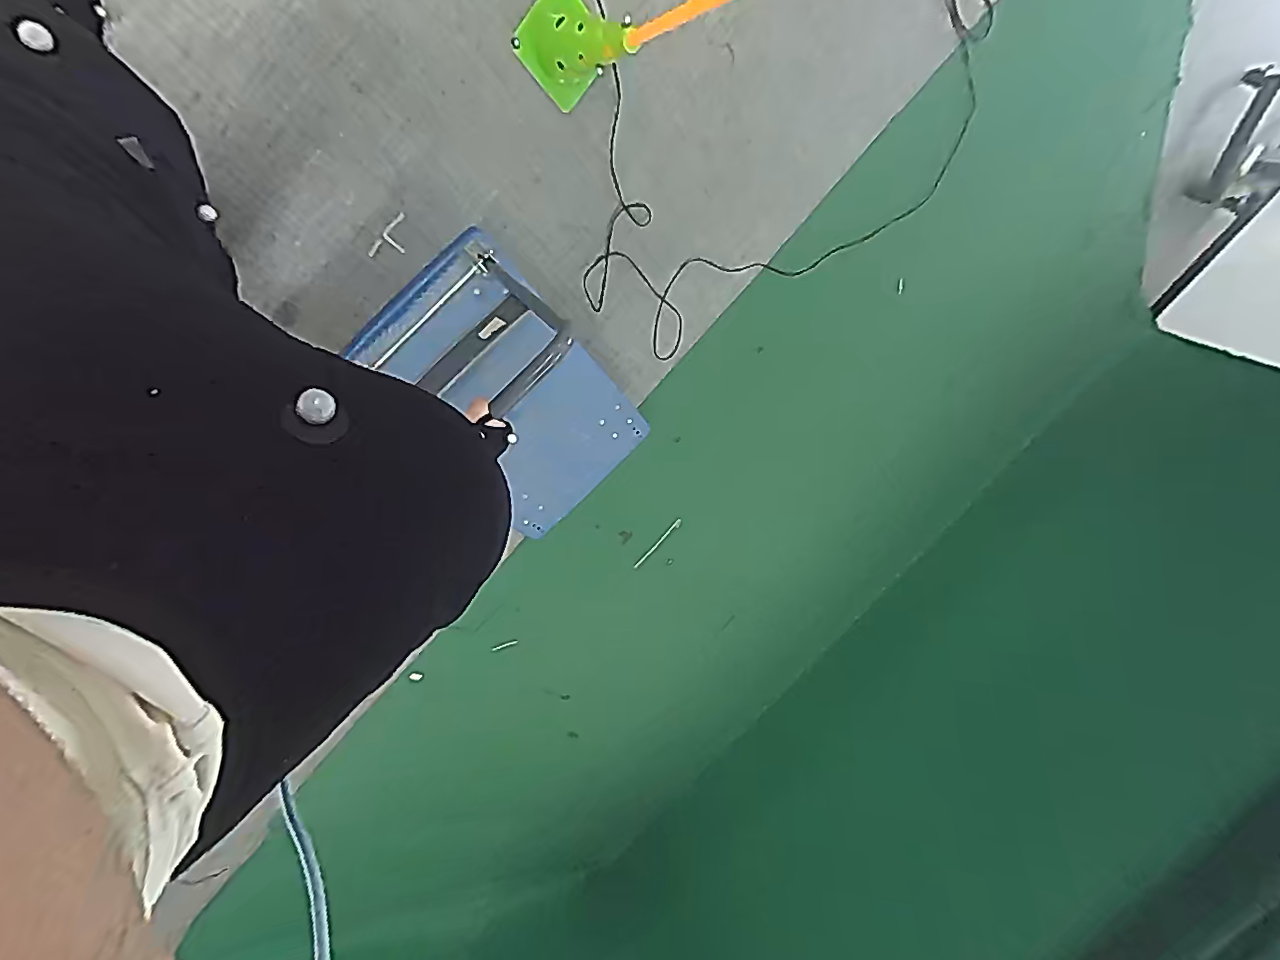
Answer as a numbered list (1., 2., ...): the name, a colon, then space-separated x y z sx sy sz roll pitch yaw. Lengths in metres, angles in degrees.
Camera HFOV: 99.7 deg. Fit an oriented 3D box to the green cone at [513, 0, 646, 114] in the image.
1. green cone: -0.096 -0.951 1.184 0.202 0.368 0.200 -52 136 7
